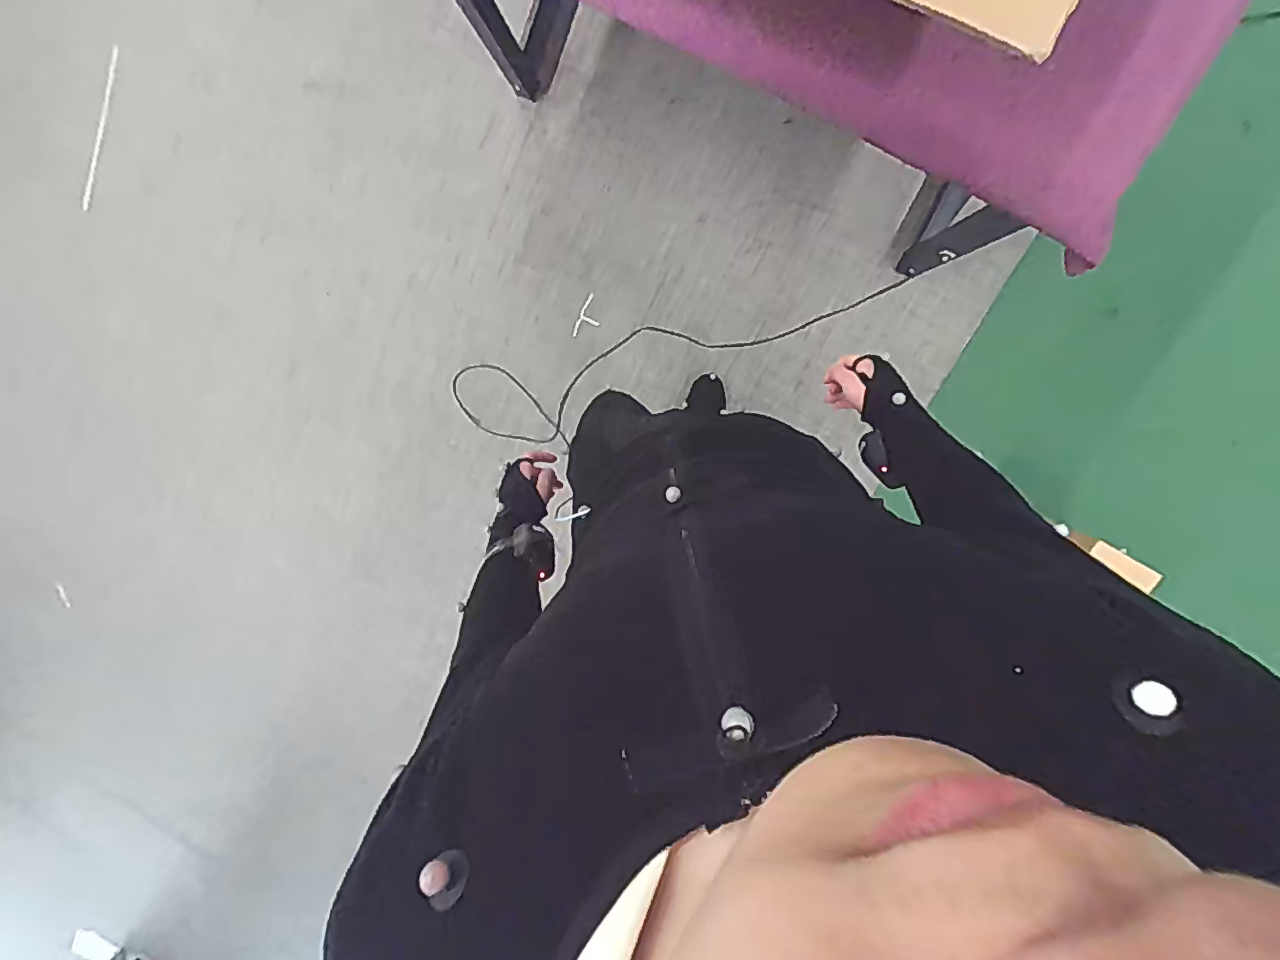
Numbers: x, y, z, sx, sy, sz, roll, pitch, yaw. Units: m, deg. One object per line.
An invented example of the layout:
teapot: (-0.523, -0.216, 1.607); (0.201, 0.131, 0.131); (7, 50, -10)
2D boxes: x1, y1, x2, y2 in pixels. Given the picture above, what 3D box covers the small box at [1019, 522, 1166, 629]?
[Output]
small box: (1.087, 0.222, 1.315); (0.179, 0.176, 0.168); (29, 102, -1)
